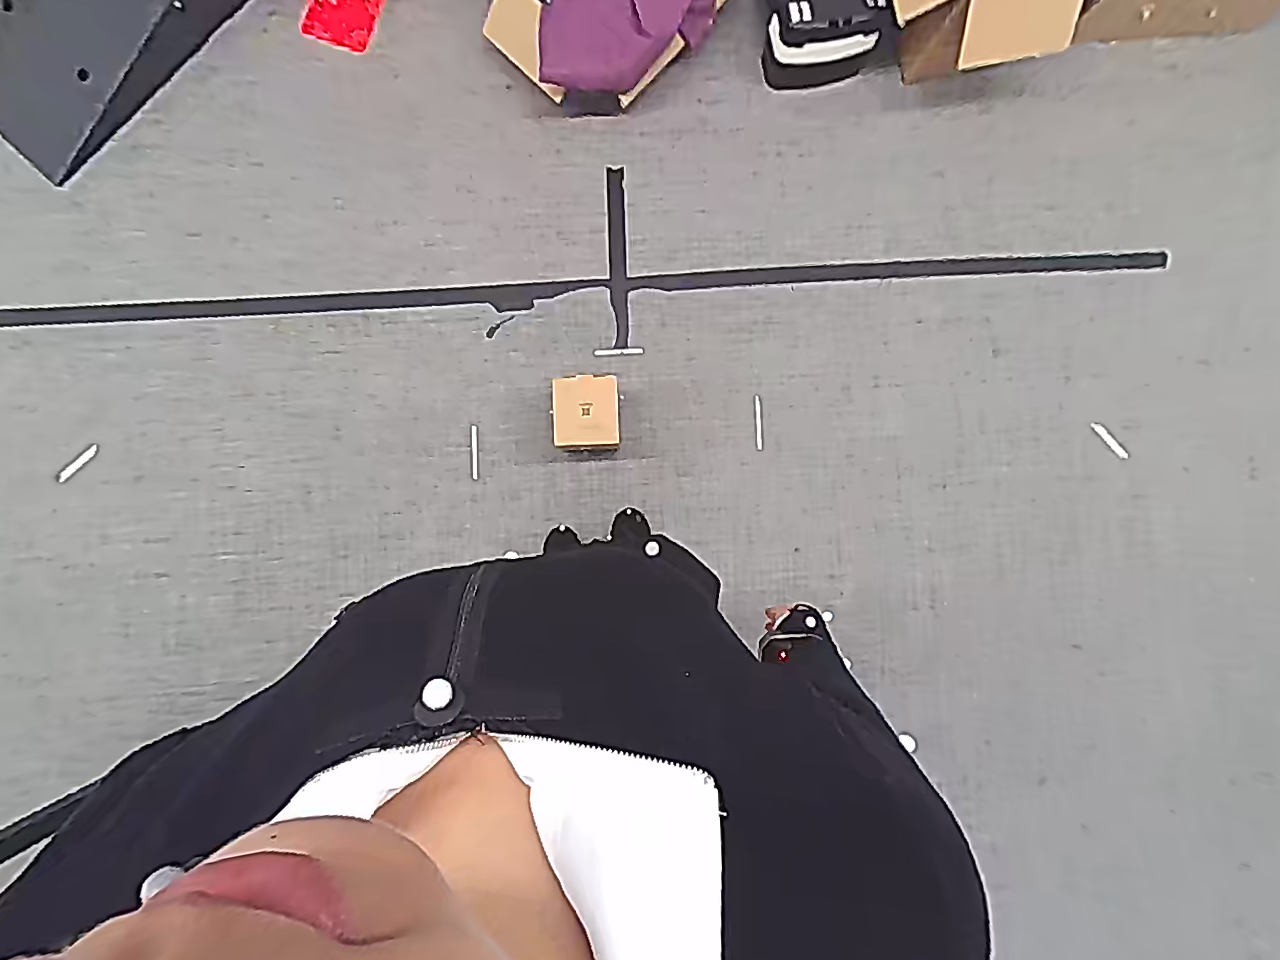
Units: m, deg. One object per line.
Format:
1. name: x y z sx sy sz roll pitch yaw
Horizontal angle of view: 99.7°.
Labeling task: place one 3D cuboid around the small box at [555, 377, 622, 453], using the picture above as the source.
1. small box: -0.133 -0.169 1.437 0.168 0.176 0.179 -3 89 0
